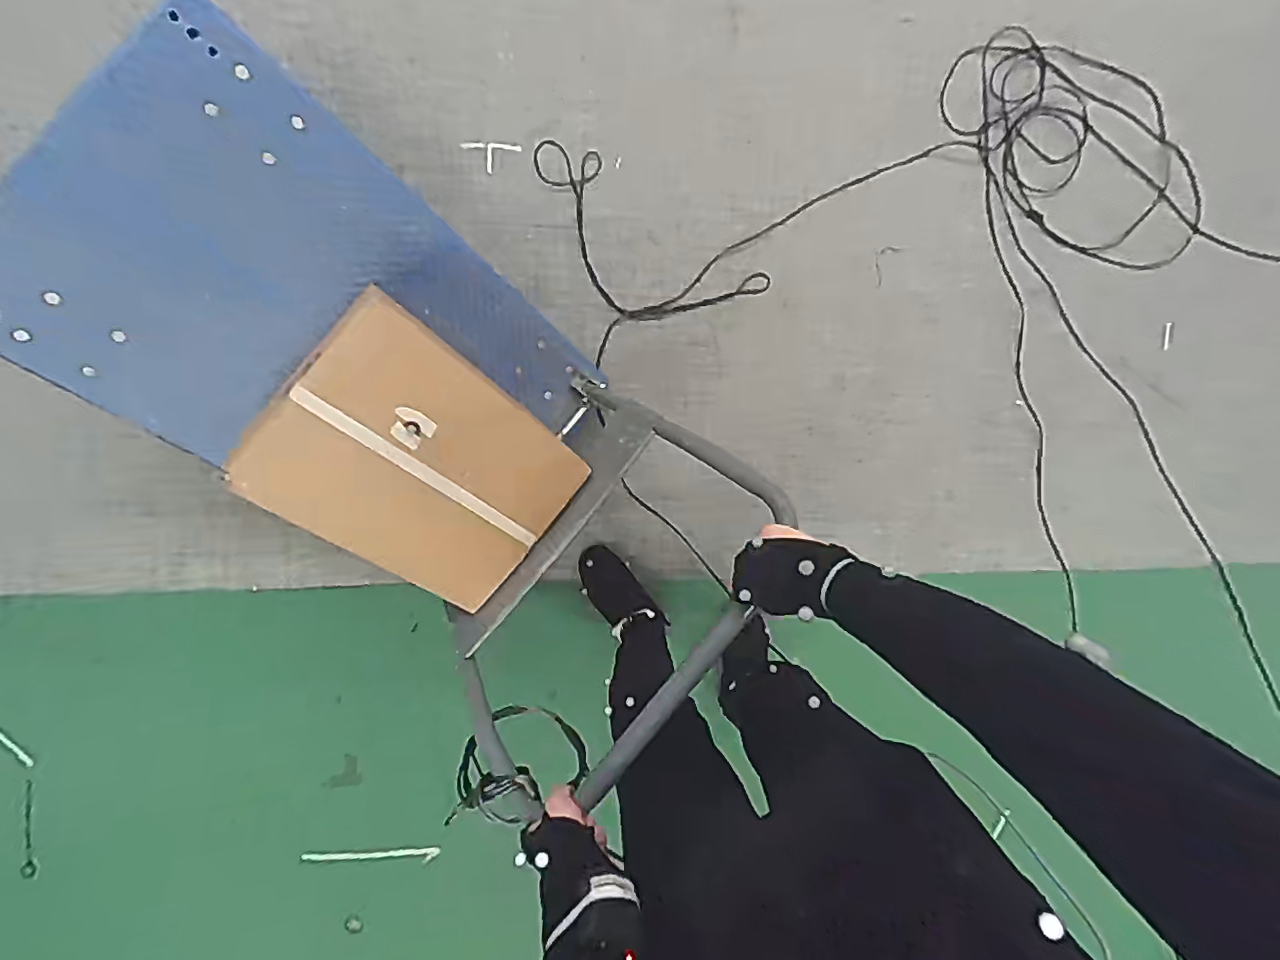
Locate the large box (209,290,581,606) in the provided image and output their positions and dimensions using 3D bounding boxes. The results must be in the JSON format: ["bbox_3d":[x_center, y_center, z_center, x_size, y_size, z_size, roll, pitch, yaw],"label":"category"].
[{"bbox_3d":[-0.379,-0.061,0.912,0.408,0.320,0.320,41,88,-32],"label":"large box"}]
